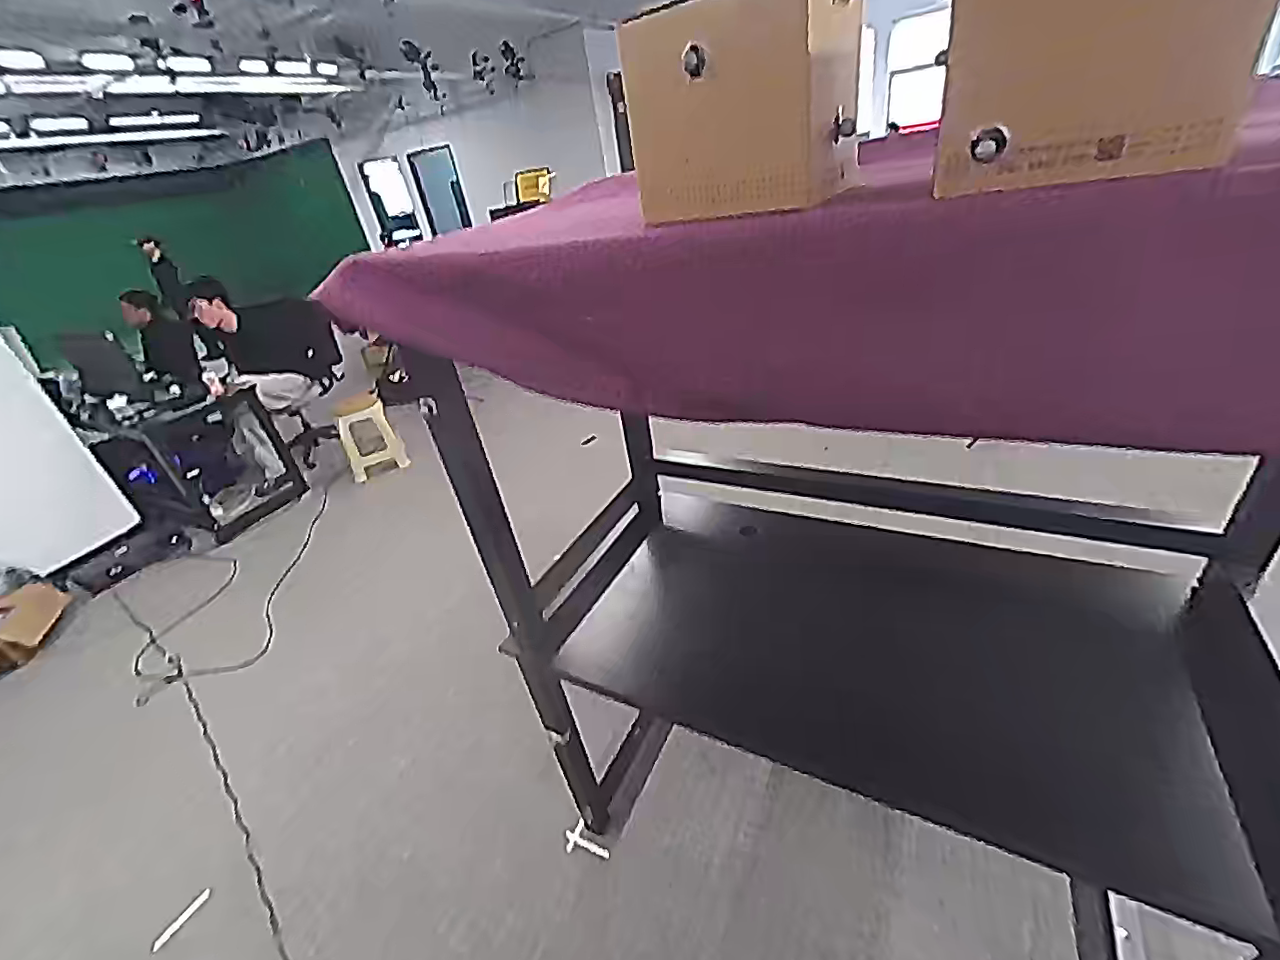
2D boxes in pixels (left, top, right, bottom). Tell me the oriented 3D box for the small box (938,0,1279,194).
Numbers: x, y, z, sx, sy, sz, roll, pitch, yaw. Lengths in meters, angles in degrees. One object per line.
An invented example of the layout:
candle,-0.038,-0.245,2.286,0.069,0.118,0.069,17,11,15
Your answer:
small box,0.322,-0.313,0.391,0.168,0.176,0.179,9,34,29

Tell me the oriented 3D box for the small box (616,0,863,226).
small box,0.104,-0.353,0.523,0.179,0.176,0.168,11,37,32
